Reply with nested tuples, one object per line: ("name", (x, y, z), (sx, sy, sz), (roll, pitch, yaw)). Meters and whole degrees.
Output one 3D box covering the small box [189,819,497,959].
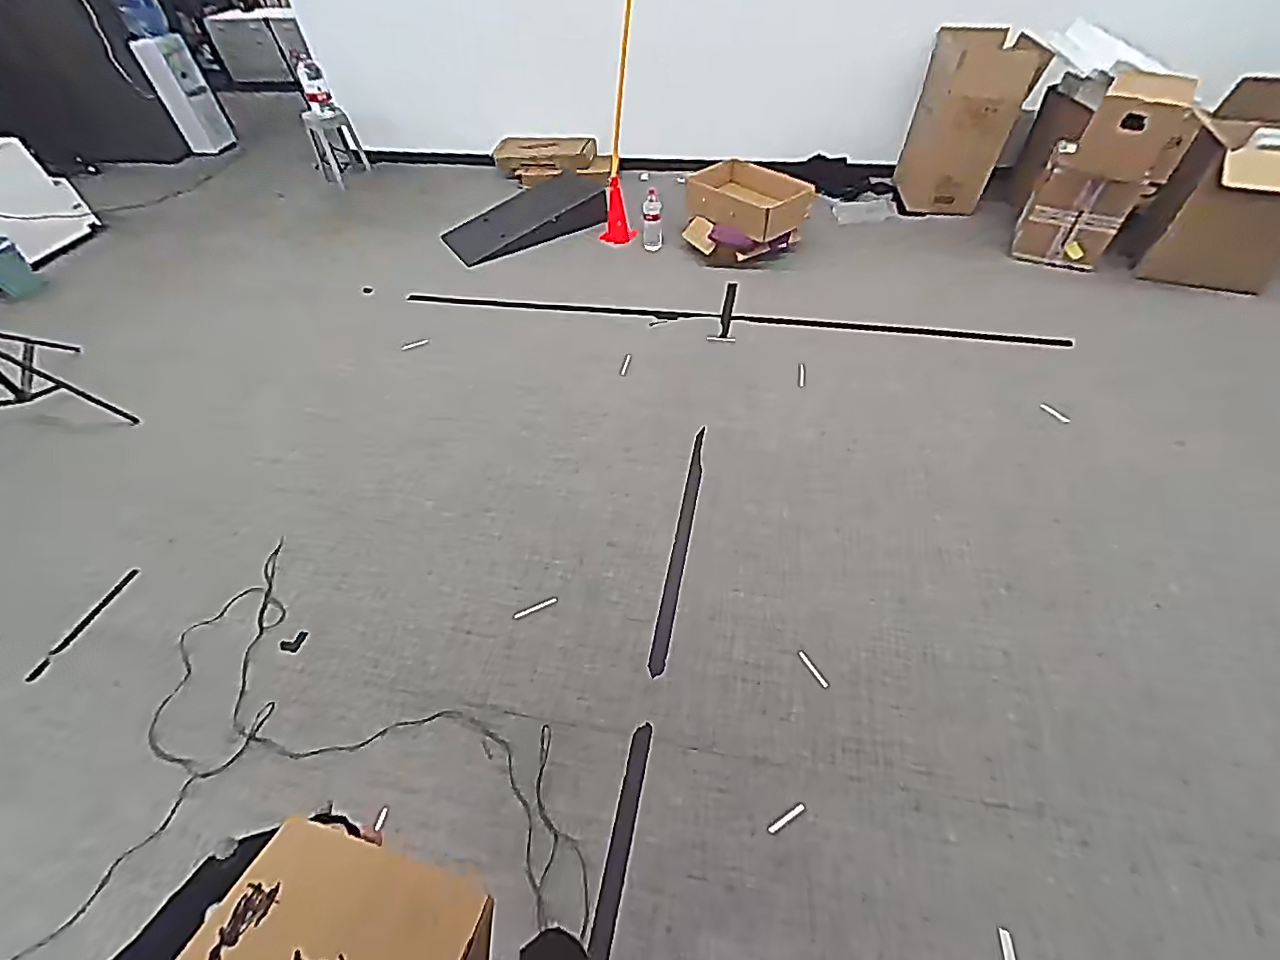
("small box", (-0.224, 0.398, 0.394), (0.179, 0.176, 0.168), (16, 30, 7))
